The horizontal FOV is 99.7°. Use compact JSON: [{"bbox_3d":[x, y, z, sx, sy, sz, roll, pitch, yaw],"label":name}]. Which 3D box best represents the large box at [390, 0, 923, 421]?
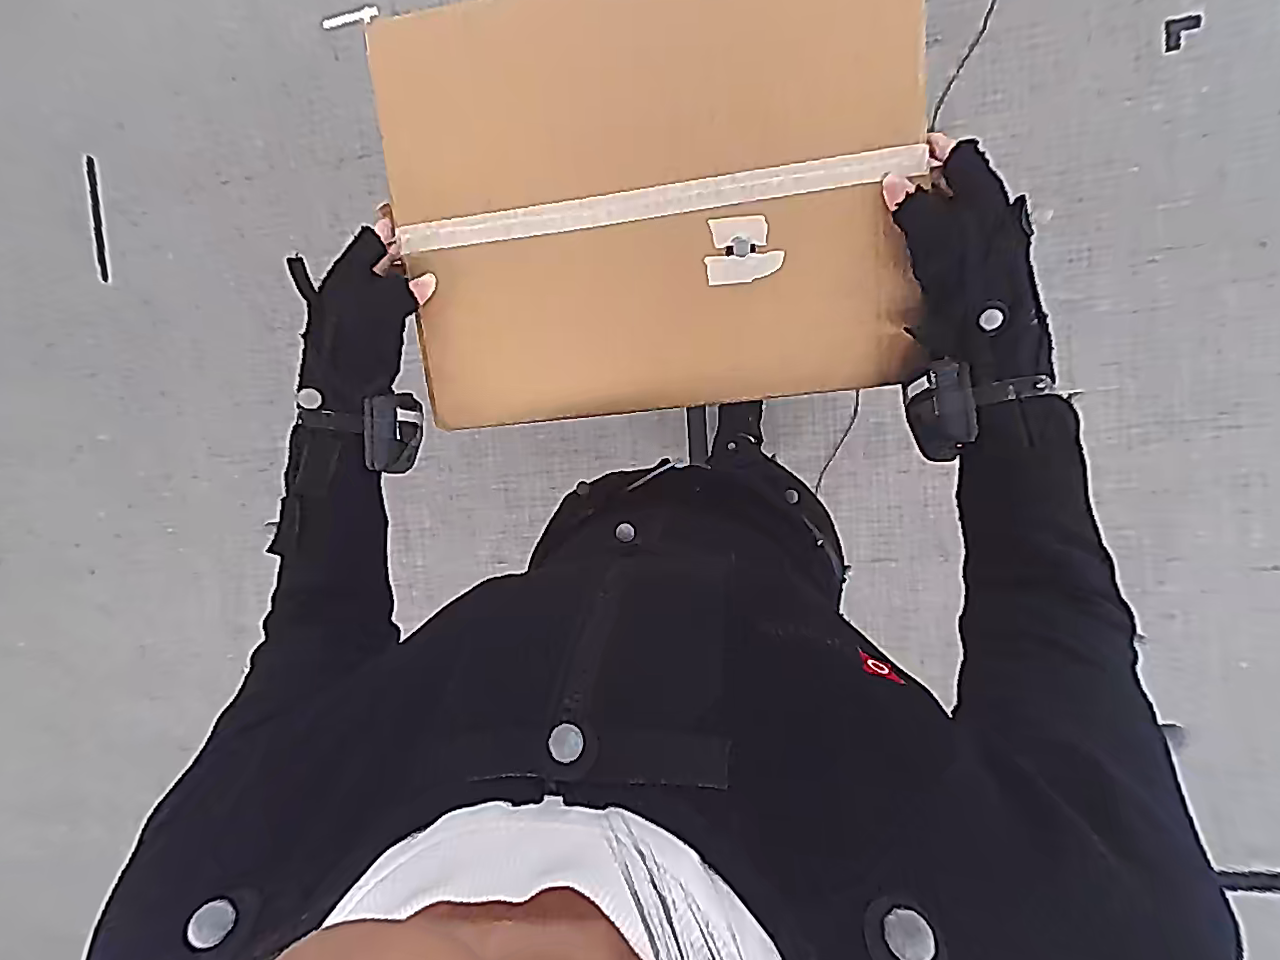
[{"bbox_3d":[0.026,-0.248,0.575,0.408,0.320,0.320,-5,101,7],"label":"large box"}]
